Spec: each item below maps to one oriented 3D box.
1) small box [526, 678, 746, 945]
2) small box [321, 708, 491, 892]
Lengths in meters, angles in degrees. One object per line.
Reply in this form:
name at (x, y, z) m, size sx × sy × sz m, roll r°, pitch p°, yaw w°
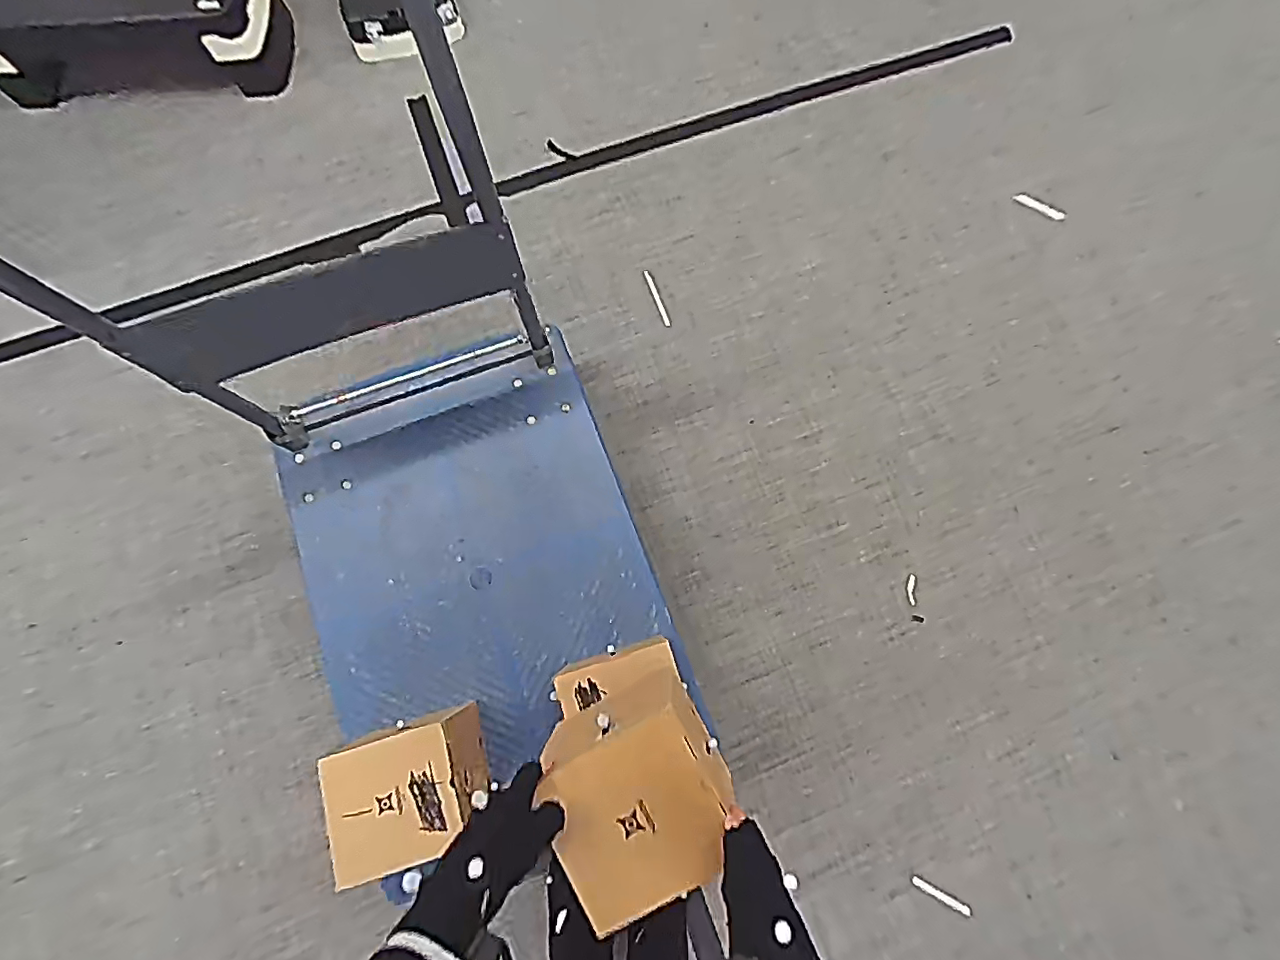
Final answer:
small box at (-0.001, 0.360, 0.625) m, size 0.179 × 0.176 × 0.168 m, roll -29°, pitch 86°, yaw 0°
small box at (-0.332, 0.455, 0.802) m, size 0.179 × 0.176 × 0.168 m, roll -16°, pitch 77°, yaw -4°
